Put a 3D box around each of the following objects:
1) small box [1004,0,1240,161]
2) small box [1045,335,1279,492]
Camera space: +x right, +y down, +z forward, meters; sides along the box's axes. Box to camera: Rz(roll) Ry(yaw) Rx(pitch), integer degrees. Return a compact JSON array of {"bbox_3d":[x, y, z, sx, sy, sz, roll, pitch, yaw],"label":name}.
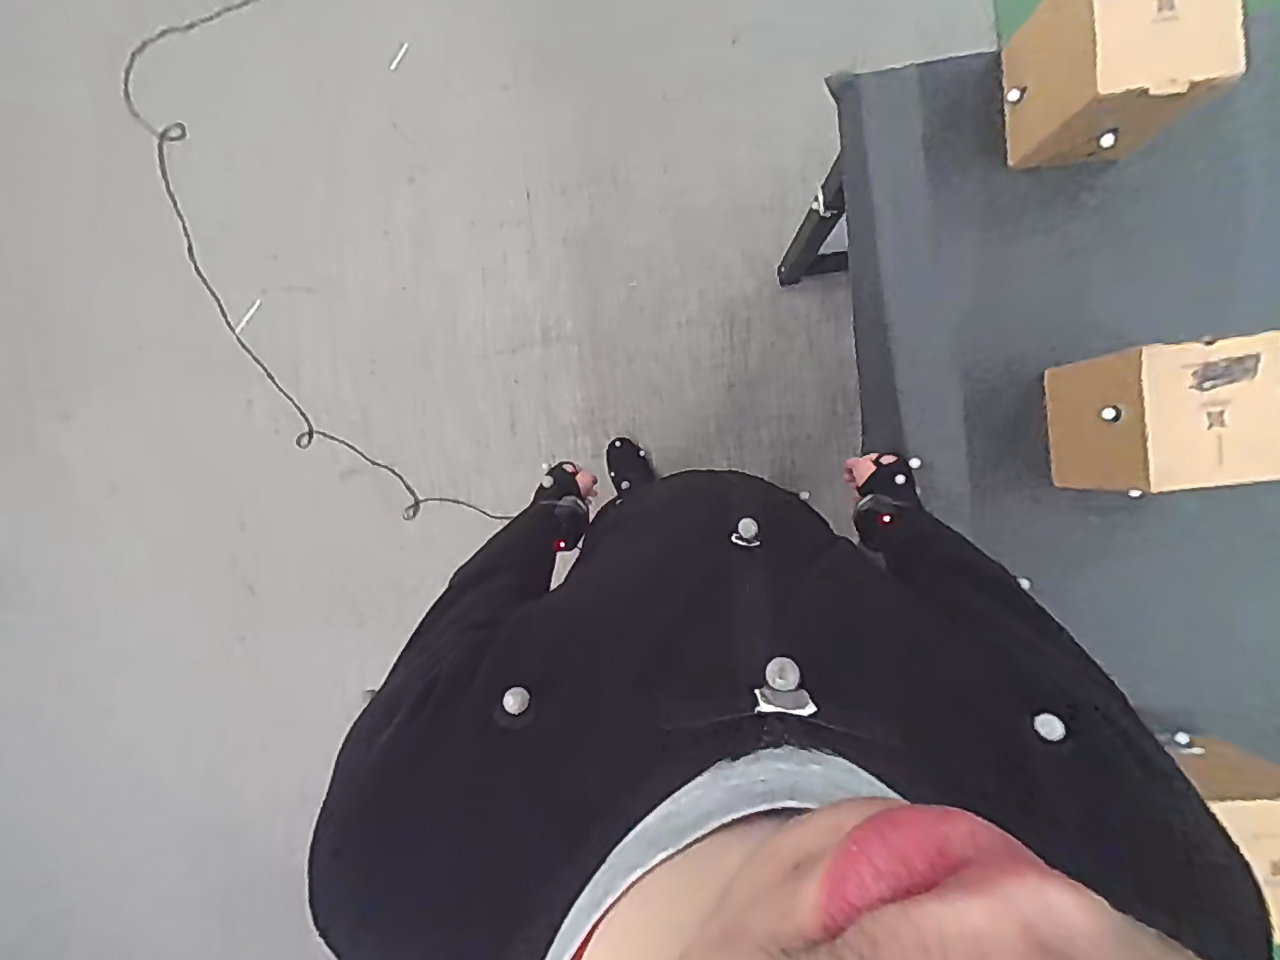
[{"bbox_3d":[0.608,-0.543,0.704,0.168,0.176,0.179,-4,93,3],"label":"small box"},{"bbox_3d":[0.677,-0.080,0.716,0.168,0.176,0.179,-6,93,3],"label":"small box"}]
